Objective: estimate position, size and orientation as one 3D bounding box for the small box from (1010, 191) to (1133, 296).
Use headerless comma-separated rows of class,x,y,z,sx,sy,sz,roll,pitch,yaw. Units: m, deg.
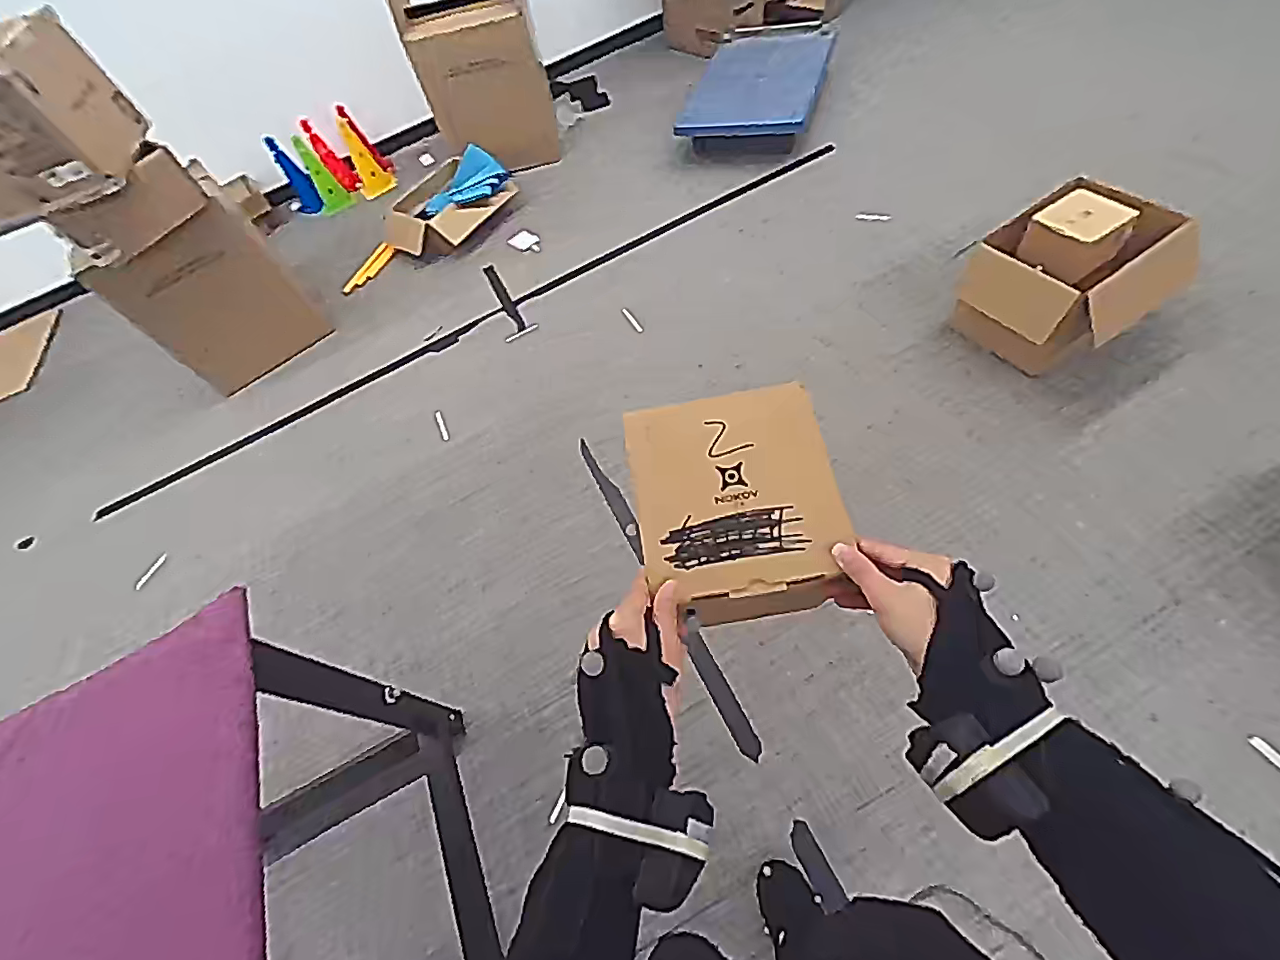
small box,1.154,-0.638,1.464,0.179,0.176,0.168,-32,55,-7
